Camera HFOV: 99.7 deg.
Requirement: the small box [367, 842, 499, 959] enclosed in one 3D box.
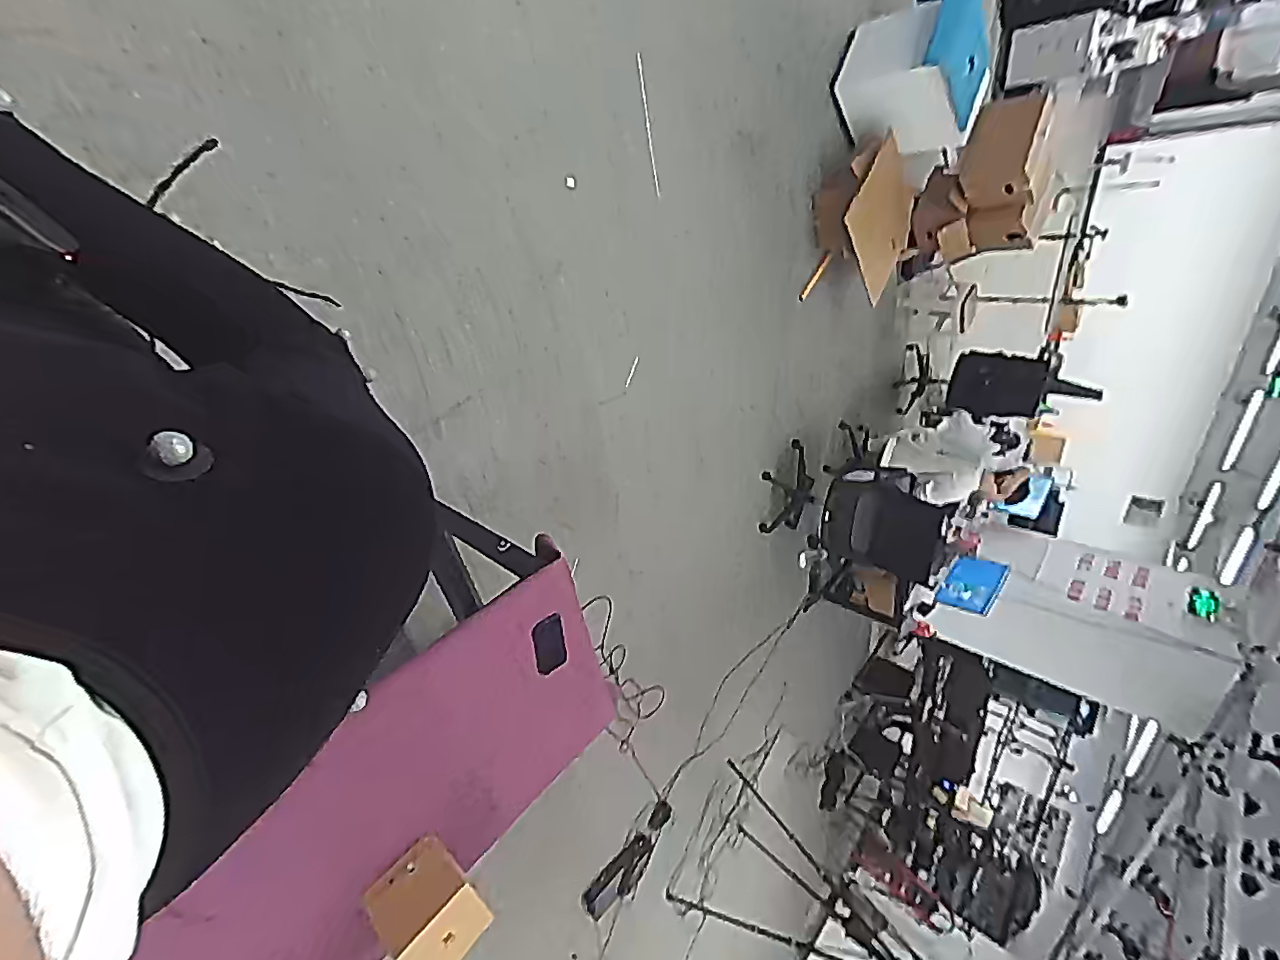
[{"bbox_3d":[-0.430,0.908,1.128,0.168,0.176,0.179,-37,128,-35],"label":"small box"}]
